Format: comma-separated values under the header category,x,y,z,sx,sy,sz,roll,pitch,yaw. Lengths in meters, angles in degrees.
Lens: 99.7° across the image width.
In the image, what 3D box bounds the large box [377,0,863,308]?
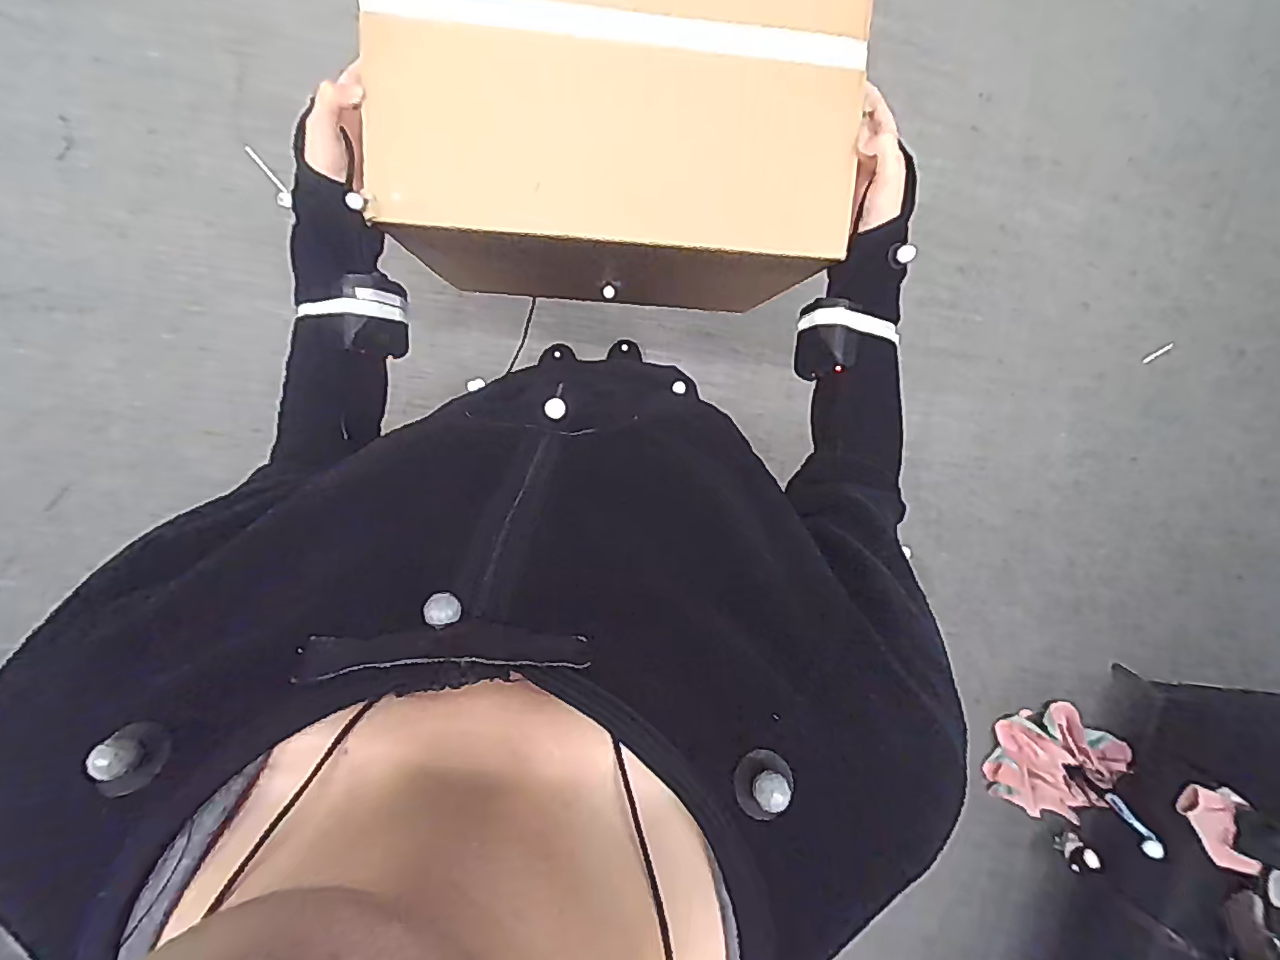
category,x,y,z,sx,sy,sz,roll,pitch,yaw
large box,-0.023,-0.375,0.594,0.408,0.320,0.320,2,98,-5
